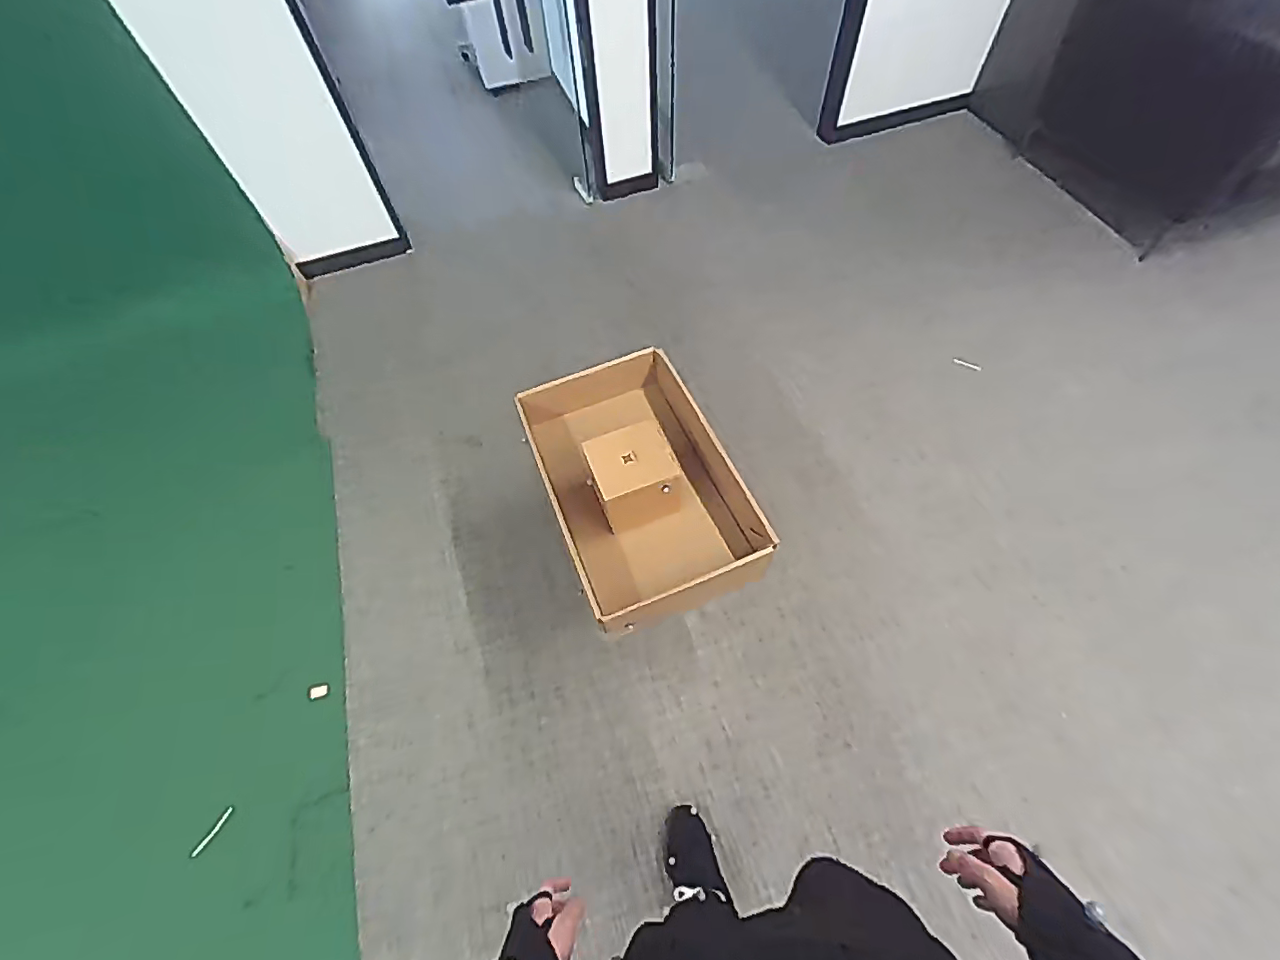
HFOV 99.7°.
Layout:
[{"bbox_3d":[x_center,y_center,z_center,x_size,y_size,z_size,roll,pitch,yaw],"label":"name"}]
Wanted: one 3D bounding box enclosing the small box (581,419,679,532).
[{"bbox_3d":[-0.018,-0.005,1.244,0.179,0.176,0.168,-20,60,-9],"label":"small box"}]
